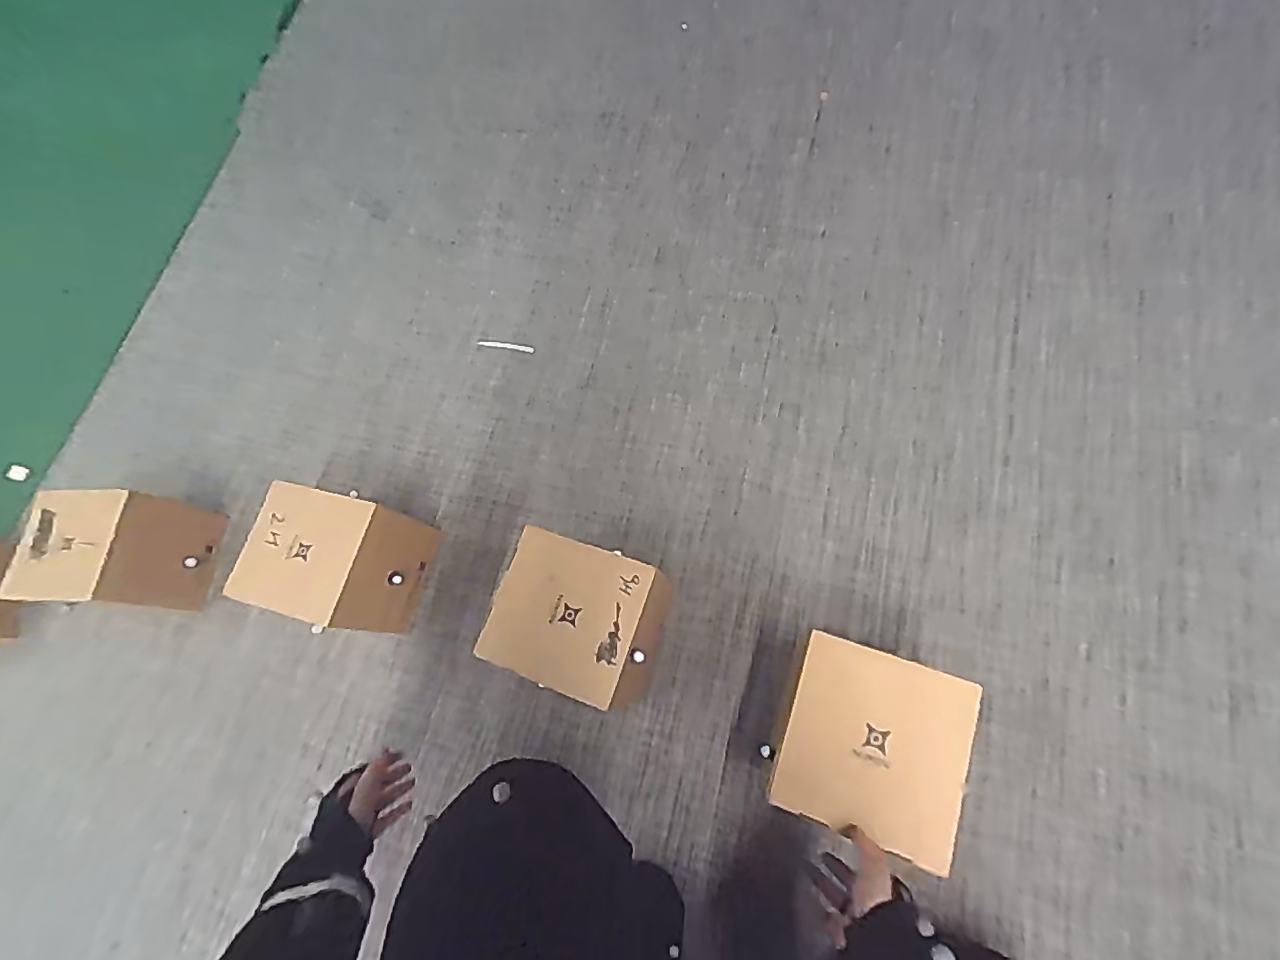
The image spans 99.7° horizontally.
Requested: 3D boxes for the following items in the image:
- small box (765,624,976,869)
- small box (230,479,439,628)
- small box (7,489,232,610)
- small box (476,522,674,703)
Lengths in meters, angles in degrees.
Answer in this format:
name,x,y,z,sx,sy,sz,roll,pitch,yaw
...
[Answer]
name,x,y,z,sx,sy,sz,roll,pitch,yaw
small box,0.241,0.276,0.605,0.168,0.176,0.179,16,76,16
small box,-0.429,0.115,0.792,0.179,0.176,0.168,11,73,15
small box,-0.819,0.117,0.870,0.179,0.176,0.168,-1,71,10
small box,-0.071,0.173,0.700,0.179,0.176,0.168,16,76,17
